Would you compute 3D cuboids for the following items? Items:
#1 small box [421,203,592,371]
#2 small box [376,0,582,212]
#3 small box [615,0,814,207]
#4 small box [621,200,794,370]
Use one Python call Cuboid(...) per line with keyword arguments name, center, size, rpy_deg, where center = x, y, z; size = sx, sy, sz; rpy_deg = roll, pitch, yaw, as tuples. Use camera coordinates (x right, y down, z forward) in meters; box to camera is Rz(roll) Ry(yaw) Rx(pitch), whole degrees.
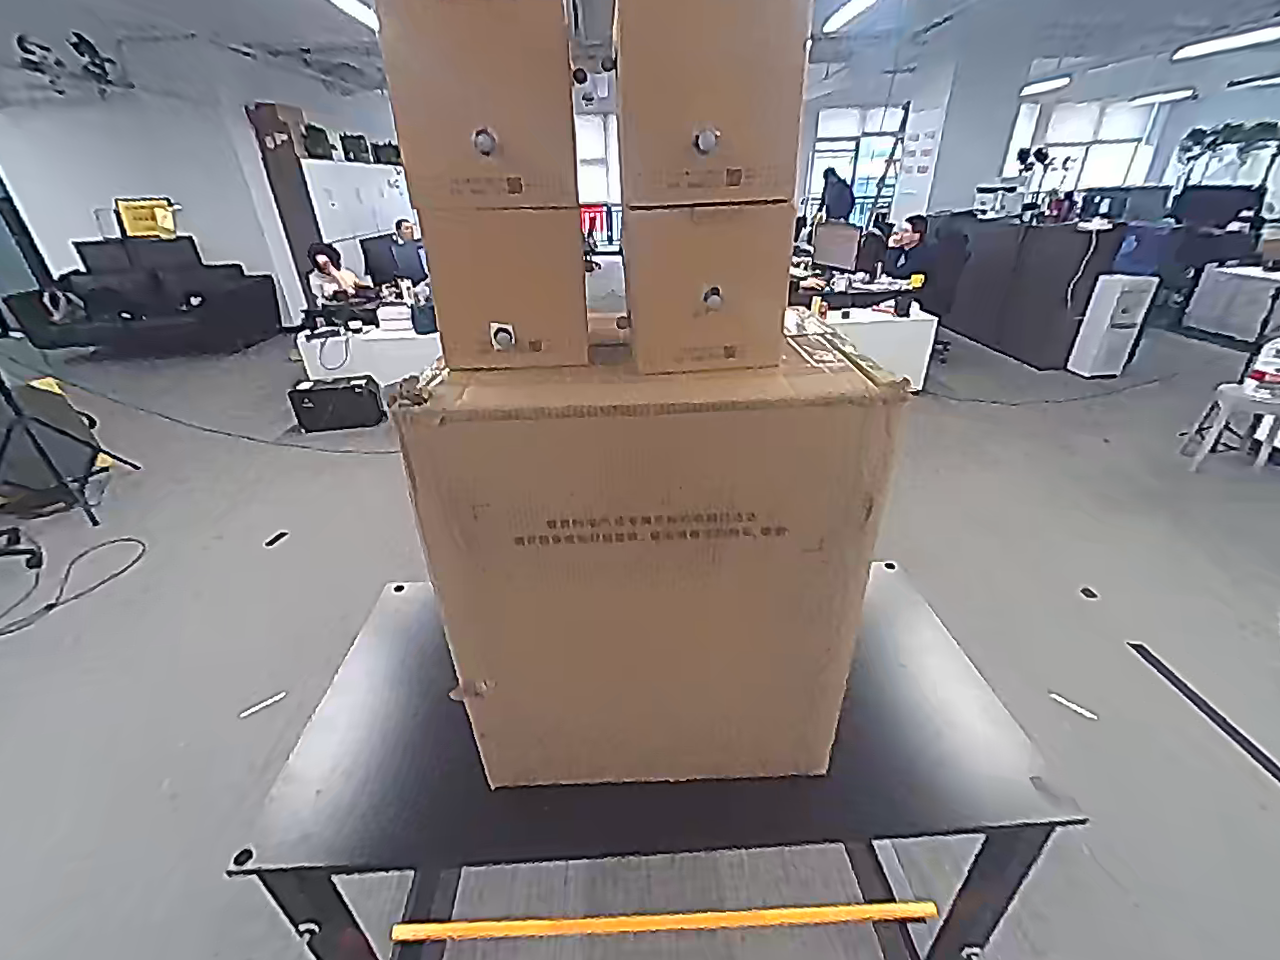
Cuboid(name="small box", center=(-0.147, -0.237, 0.653), size=(0.168, 0.176, 0.179), rpy_deg=(-5, 30, -6))
Cuboid(name="small box", center=(-0.151, -0.381, 0.572), size=(0.168, 0.176, 0.179), rpy_deg=(-3, 29, -4))
Cuboid(name="small box", center=(0.060, -0.373, 0.546), size=(0.168, 0.176, 0.179), rpy_deg=(-4, 30, -1))
Cuboid(name="small box", center=(0.068, -0.231, 0.632), size=(0.168, 0.176, 0.179), rpy_deg=(-4, 30, -3))
